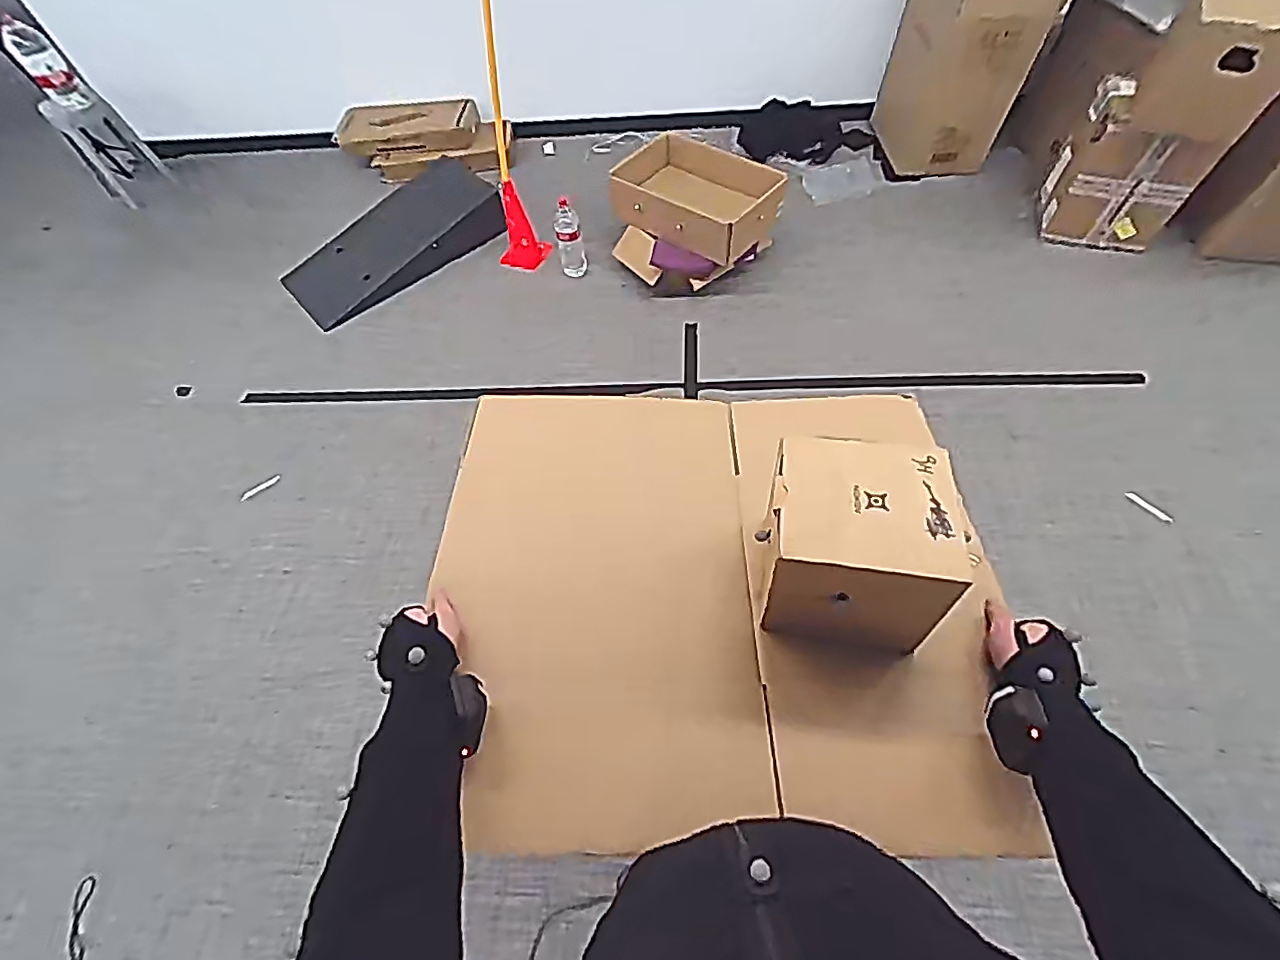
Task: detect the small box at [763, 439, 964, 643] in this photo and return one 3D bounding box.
[{"bbox_3d":[0.238,0.073,0.622,0.179,0.176,0.168,5,53,11],"label":"small box"}]
